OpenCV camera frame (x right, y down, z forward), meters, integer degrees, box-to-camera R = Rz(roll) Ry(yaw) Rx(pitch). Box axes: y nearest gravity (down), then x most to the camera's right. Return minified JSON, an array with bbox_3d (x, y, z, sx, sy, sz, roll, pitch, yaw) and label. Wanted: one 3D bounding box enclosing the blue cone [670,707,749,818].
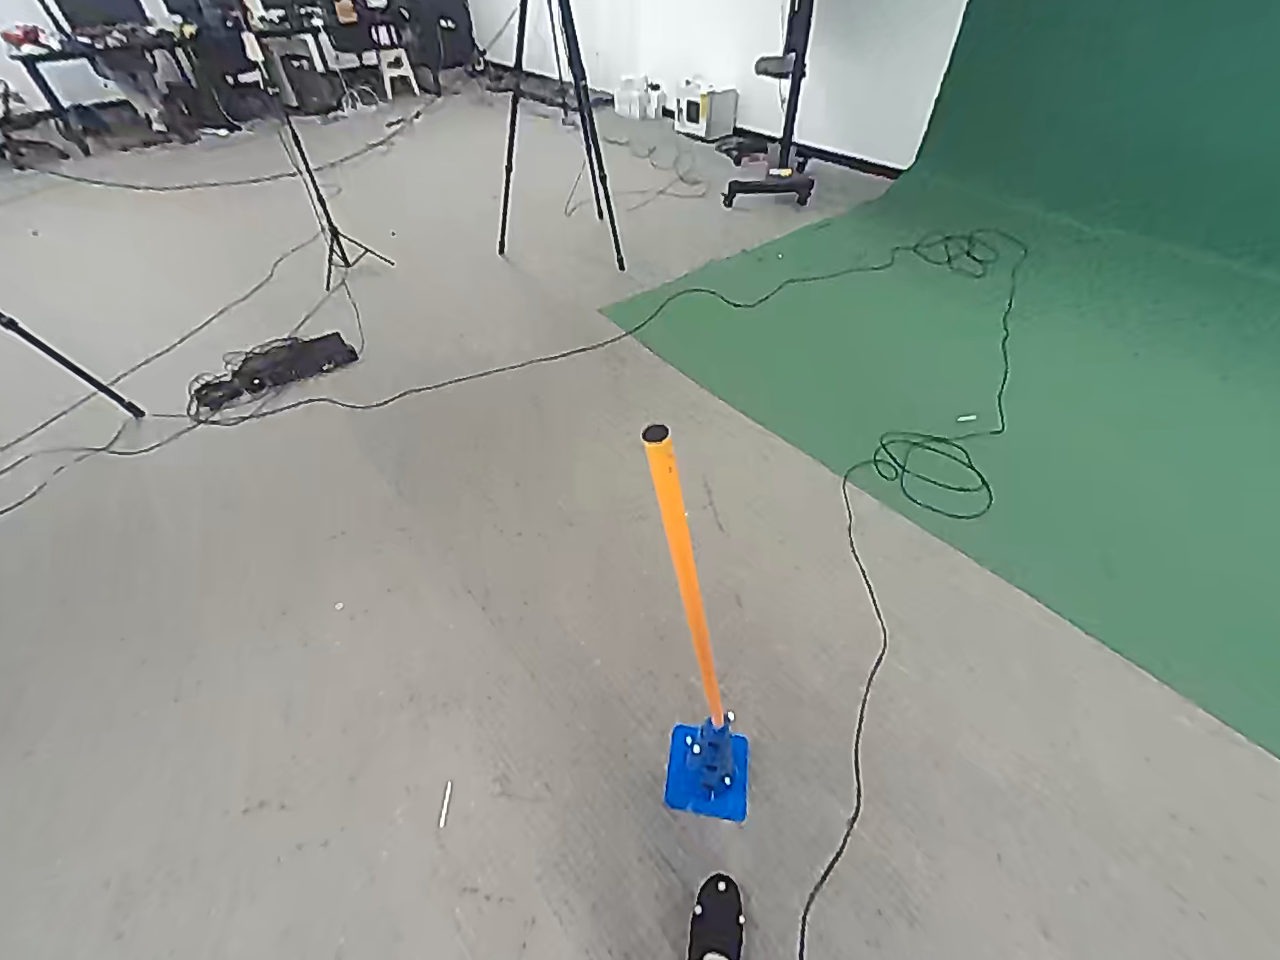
[{"bbox_3d":[0.165,0.611,1.221,0.193,0.380,0.192,5,47,8],"label":"blue cone"}]
